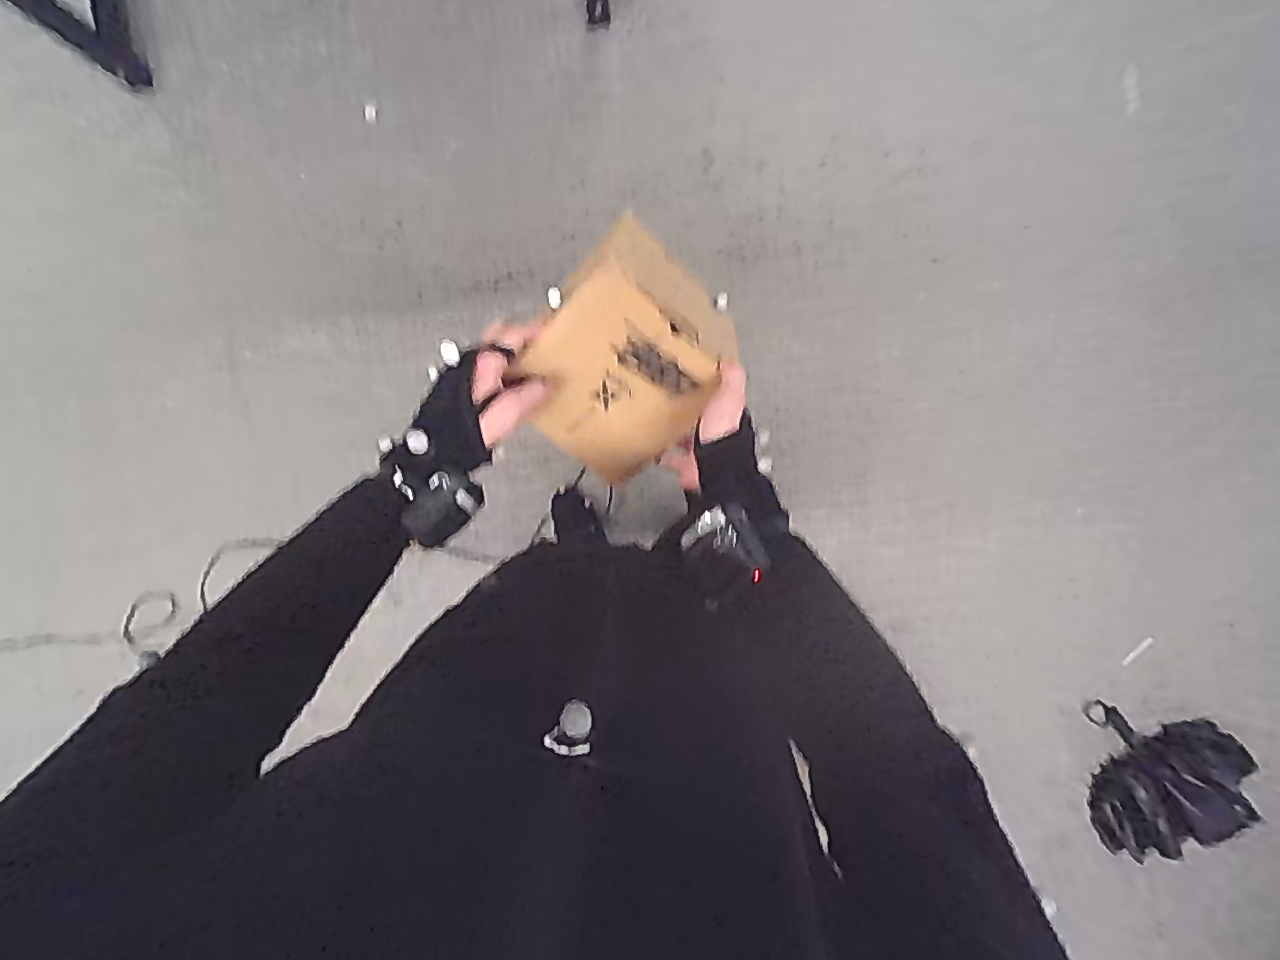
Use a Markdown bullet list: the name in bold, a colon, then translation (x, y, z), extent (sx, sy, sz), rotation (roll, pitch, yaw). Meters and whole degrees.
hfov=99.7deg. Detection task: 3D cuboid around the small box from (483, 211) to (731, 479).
- **small box**: translation (-0.028, -0.141, 0.559), extent (0.168, 0.176, 0.179), rotation (37, 124, -21)
